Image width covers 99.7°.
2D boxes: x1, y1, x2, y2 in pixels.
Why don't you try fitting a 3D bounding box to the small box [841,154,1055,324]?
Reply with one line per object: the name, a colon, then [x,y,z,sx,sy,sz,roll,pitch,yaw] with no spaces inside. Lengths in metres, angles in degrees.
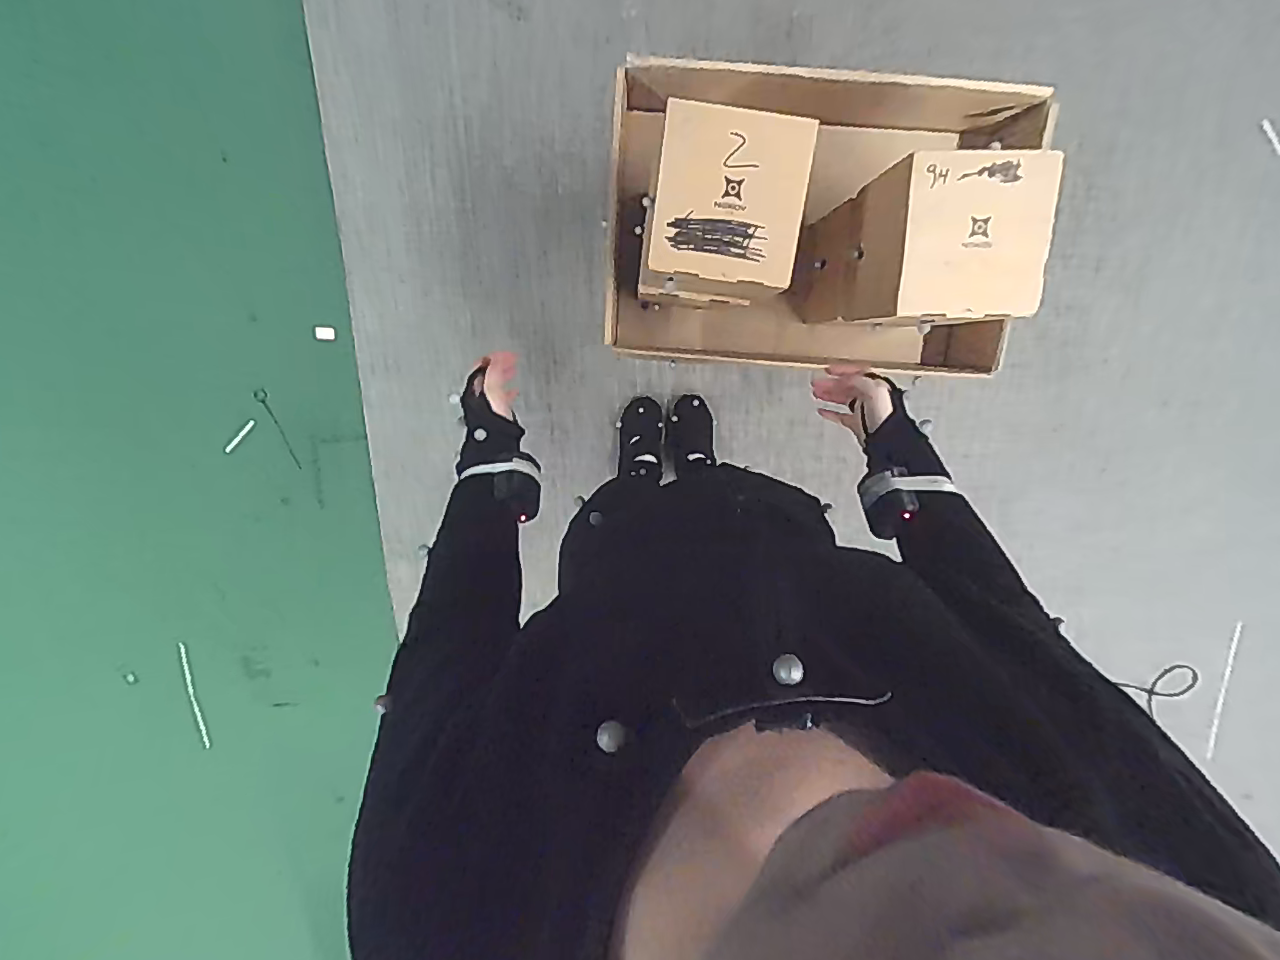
small box: [0.371,-0.292,0.690,0.168,0.176,0.179,1,105,-1]
